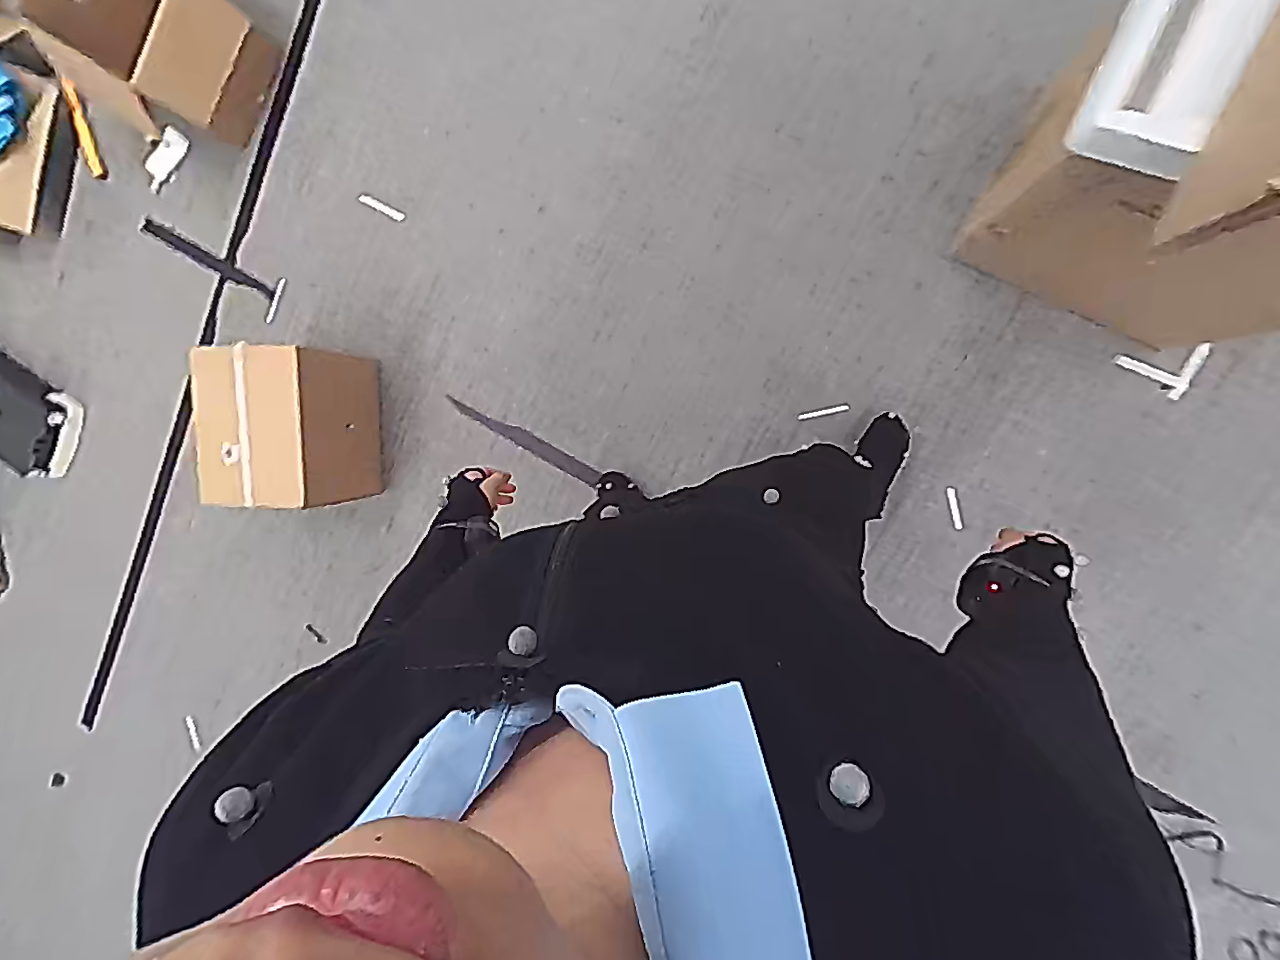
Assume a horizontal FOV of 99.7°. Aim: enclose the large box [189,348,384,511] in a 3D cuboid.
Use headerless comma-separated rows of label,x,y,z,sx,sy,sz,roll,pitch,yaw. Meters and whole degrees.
large box,-0.946,-0.140,1.487,0.320,0.320,0.408,1,97,11
